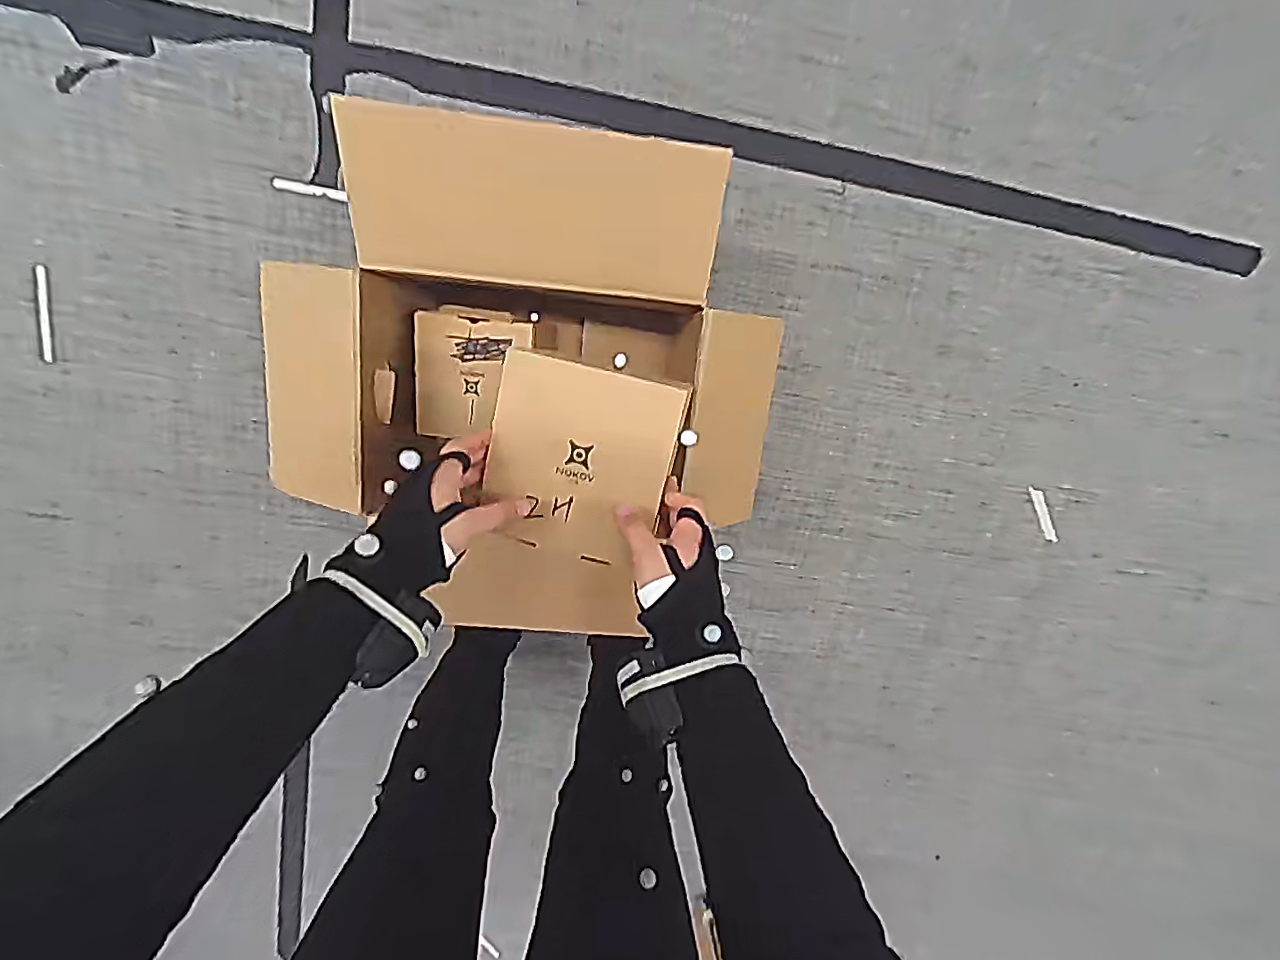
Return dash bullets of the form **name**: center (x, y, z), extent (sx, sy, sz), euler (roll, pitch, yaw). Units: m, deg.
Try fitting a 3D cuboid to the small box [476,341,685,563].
- **small box**: center (-0.051, -0.039, 0.574), extent (0.168, 0.176, 0.179), euler (15, 103, 4)
